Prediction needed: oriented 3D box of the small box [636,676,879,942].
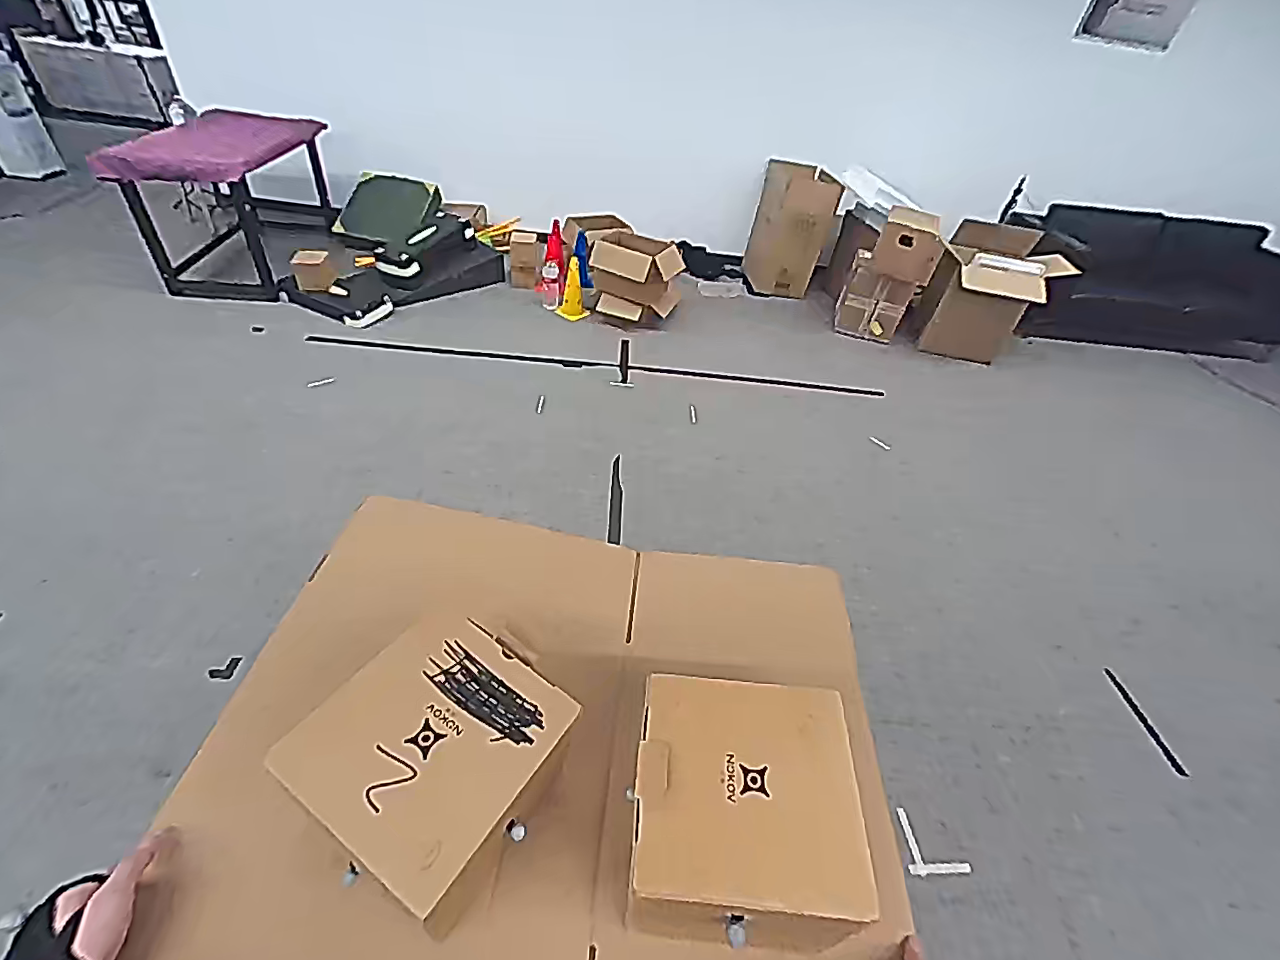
[{"bbox_3d":[0.092,0.305,0.501,0.179,0.176,0.168,4,44,3],"label":"small box"}]
